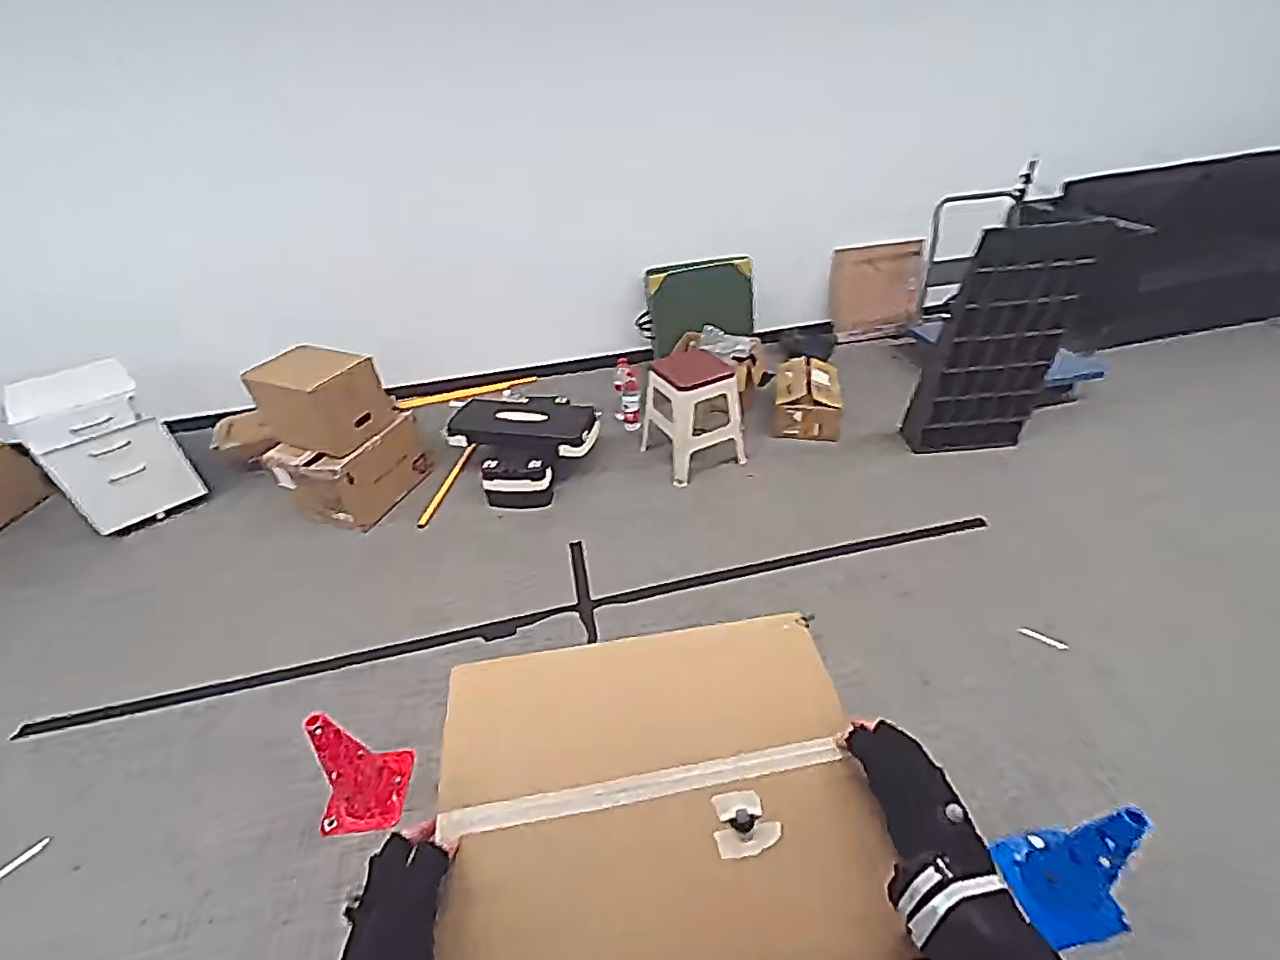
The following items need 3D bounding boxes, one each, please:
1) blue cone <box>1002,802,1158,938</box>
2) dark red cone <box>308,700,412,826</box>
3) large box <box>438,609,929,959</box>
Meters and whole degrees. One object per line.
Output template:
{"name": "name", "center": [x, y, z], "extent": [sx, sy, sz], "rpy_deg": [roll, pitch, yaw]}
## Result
{"name": "blue cone", "center": [0.927, 0.757, 1.100], "extent": [0.192, 0.380, 0.193], "rpy_deg": [-7, 37, -5]}
{"name": "dark red cone", "center": [-0.725, 0.672, 1.334], "extent": [0.201, 0.394, 0.202], "rpy_deg": [-6, 37, -3]}
{"name": "large box", "center": [0.016, 0.392, 0.620], "extent": [0.408, 0.320, 0.320], "rpy_deg": [-7, 43, -7]}
